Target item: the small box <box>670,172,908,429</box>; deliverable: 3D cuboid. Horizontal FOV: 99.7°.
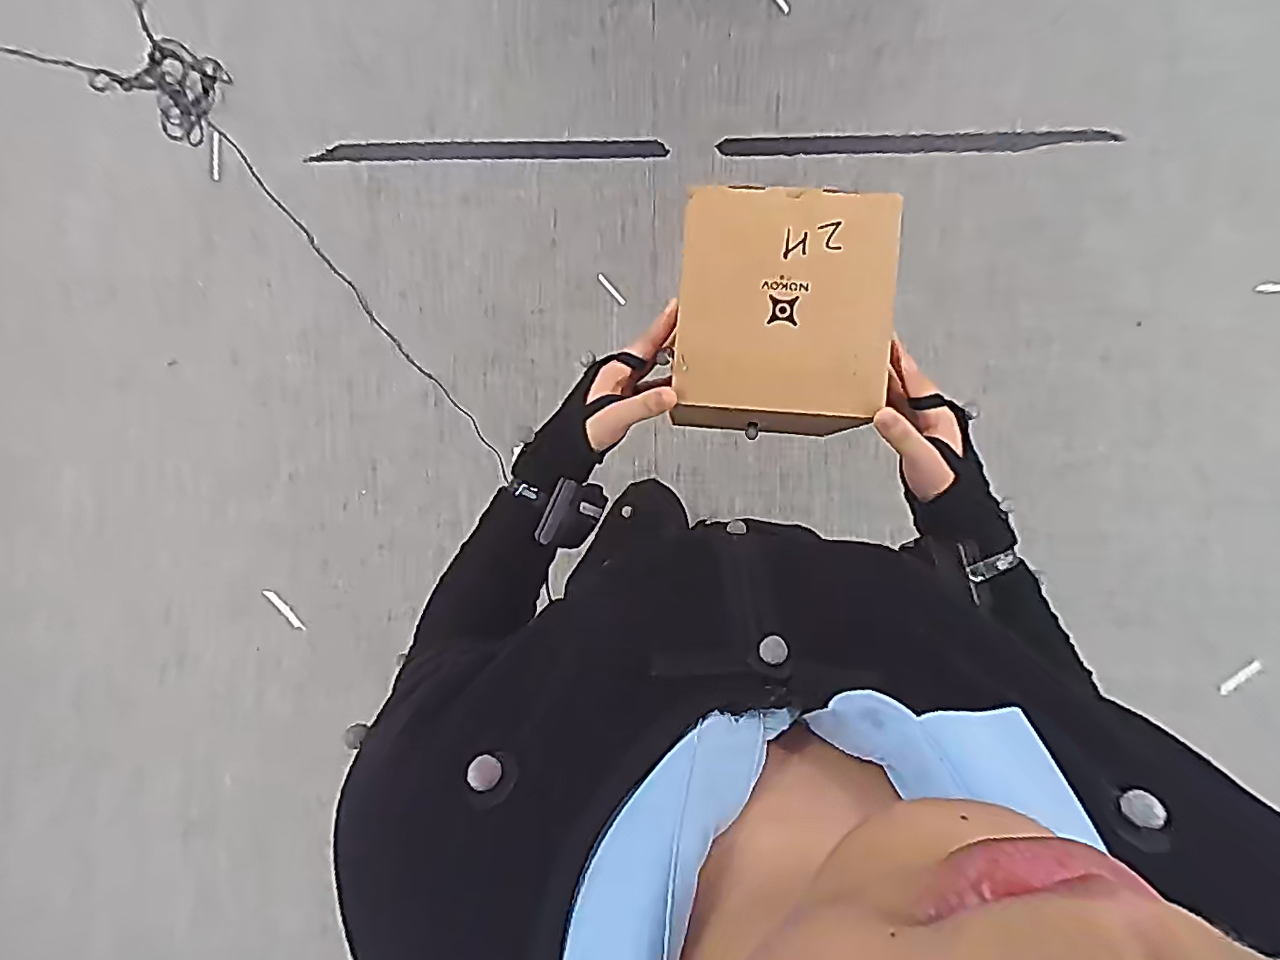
[{"bbox_3d":[0.118,-0.143,0.490,0.168,0.176,0.179,5,90,4],"label":"small box"}]
